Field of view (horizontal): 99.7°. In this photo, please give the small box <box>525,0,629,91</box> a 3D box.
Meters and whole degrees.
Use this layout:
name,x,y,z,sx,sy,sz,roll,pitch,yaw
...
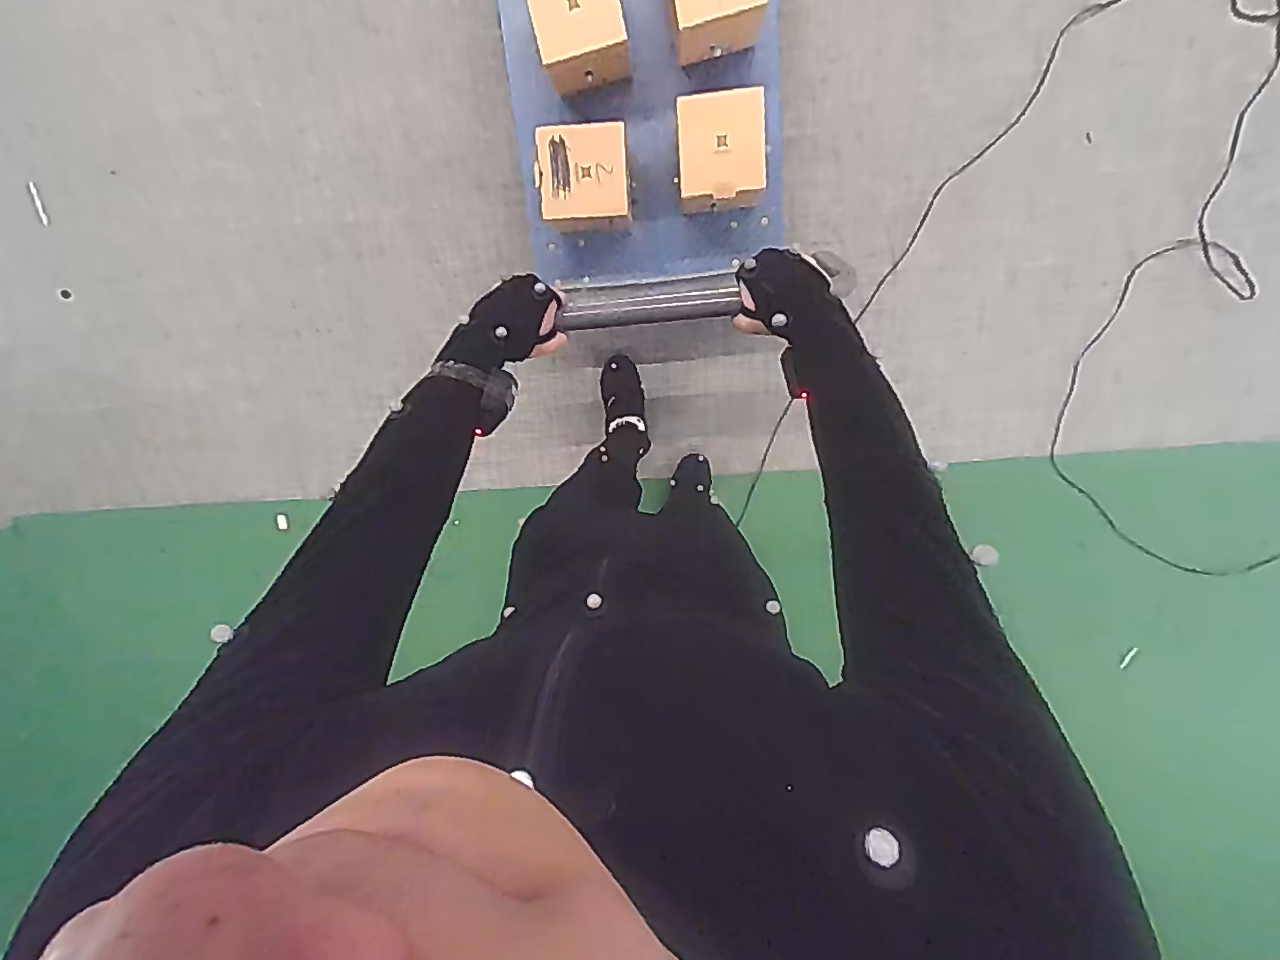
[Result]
name,x,y,z,sx,sy,sz,roll,pitch,yaw
small box,-0.121,-0.895,1.055,0.168,0.176,0.179,-12,106,6

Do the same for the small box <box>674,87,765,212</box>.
name,x,y,z,sx,sy,sz,roll,pitch,yaw
small box,0.159,-0.669,1.113,0.168,0.176,0.179,-5,108,4

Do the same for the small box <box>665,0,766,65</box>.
name,x,y,z,sx,sy,sz,roll,pitch,yaw
small box,0.133,-0.941,1.028,0.168,0.176,0.179,-11,107,7
